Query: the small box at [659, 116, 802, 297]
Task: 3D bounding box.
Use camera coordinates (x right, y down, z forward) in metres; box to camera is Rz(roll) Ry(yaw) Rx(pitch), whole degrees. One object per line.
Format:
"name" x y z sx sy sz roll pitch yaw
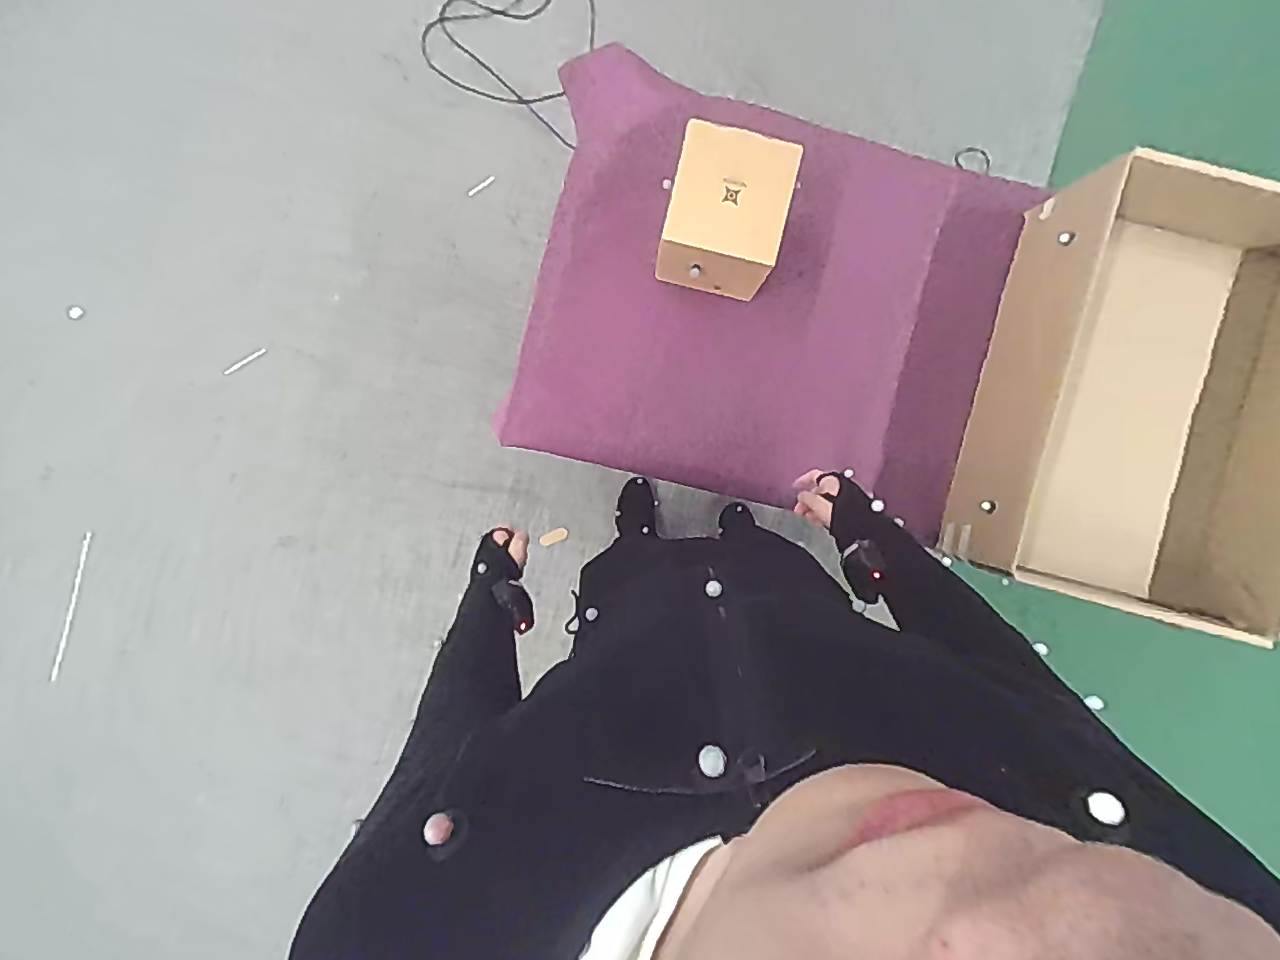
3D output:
"small box" 0.127 -0.403 0.829 0.168 0.176 0.179 13 90 -1
